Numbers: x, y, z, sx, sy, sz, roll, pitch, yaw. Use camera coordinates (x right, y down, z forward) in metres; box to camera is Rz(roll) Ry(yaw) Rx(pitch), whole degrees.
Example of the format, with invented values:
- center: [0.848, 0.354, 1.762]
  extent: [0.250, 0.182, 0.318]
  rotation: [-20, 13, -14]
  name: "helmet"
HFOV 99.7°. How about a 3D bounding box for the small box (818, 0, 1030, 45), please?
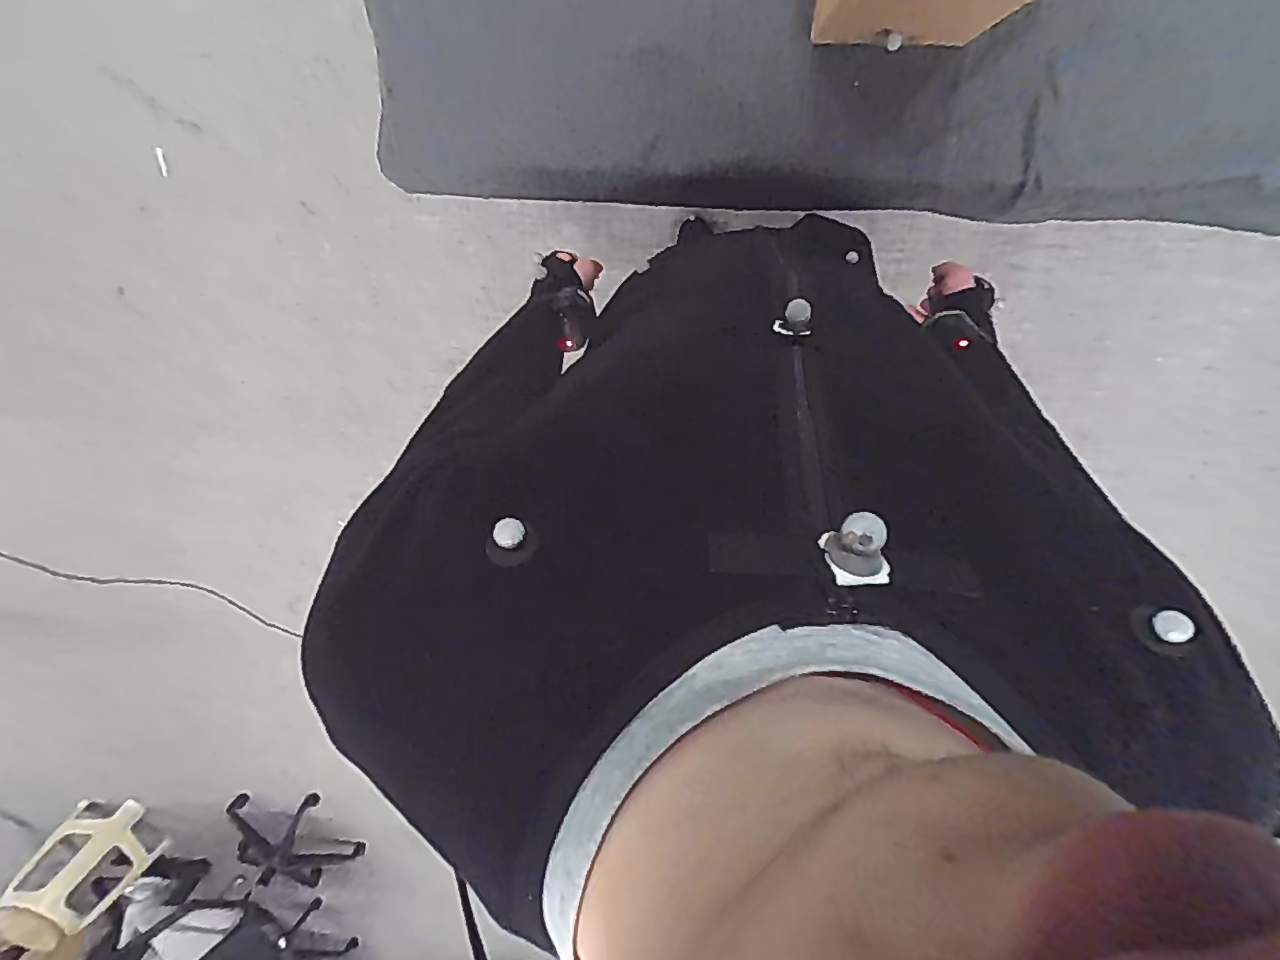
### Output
- center: [0.265, -0.516, 0.473]
  extent: [0.168, 0.176, 0.179]
  rotation: [5, 117, 4]
  name: "small box"
